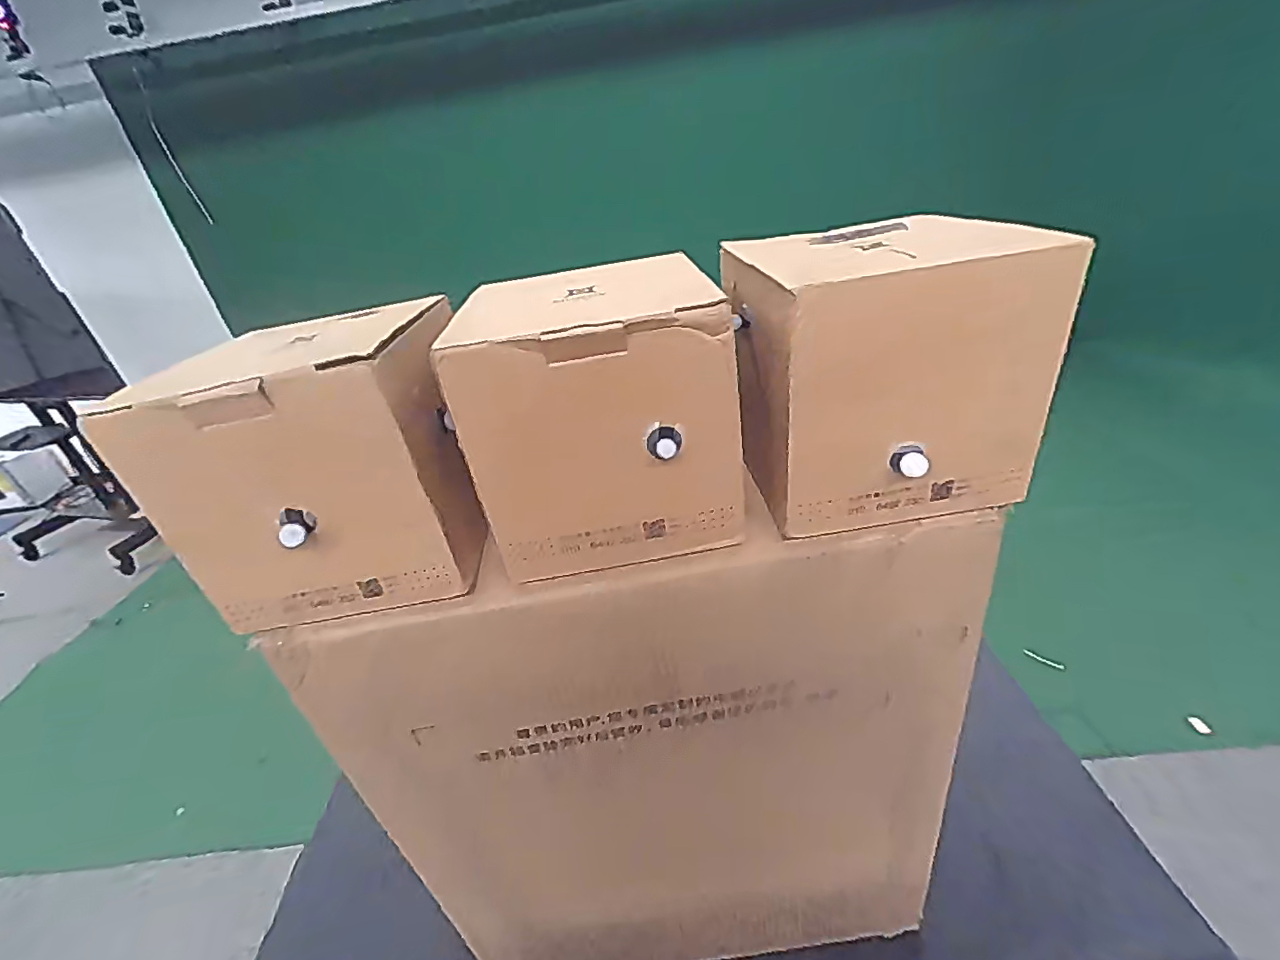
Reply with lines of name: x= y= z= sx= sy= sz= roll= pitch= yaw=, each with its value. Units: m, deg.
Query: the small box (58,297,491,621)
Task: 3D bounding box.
small box: x=-0.223 y=-0.015 z=0.397 sx=0.168 sy=0.176 sz=0.179 roll=-11 pitch=31 yaw=2

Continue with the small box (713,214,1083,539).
small box: x=0.151 y=-0.082 z=0.388 sx=0.168 sy=0.176 sz=0.179 roll=-9 pitch=31 yaw=1
